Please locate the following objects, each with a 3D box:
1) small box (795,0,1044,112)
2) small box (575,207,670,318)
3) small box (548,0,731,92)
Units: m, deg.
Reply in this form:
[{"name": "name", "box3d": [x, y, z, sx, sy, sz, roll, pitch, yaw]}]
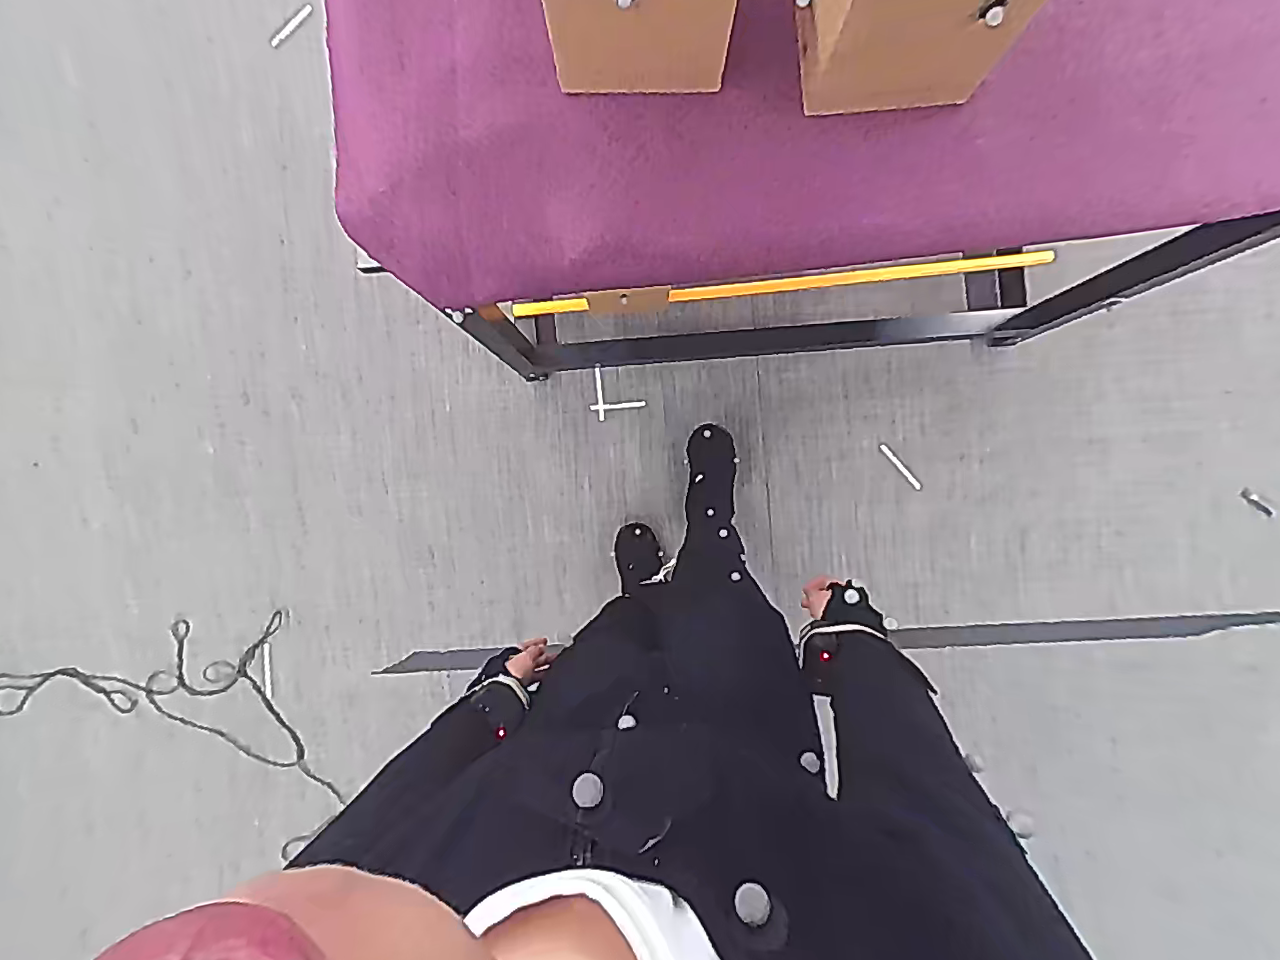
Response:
[{"name": "small box", "box3d": [0.259, -0.485, 0.510, 0.179, 0.176, 0.168, -4, 88, 1]}, {"name": "small box", "box3d": [-0.036, -0.448, 1.136, 0.179, 0.176, 0.168, -5, 91, 1]}, {"name": "small box", "box3d": [0.000, -0.507, 0.513, 0.179, 0.176, 0.168, 0, 89, -1]}]
